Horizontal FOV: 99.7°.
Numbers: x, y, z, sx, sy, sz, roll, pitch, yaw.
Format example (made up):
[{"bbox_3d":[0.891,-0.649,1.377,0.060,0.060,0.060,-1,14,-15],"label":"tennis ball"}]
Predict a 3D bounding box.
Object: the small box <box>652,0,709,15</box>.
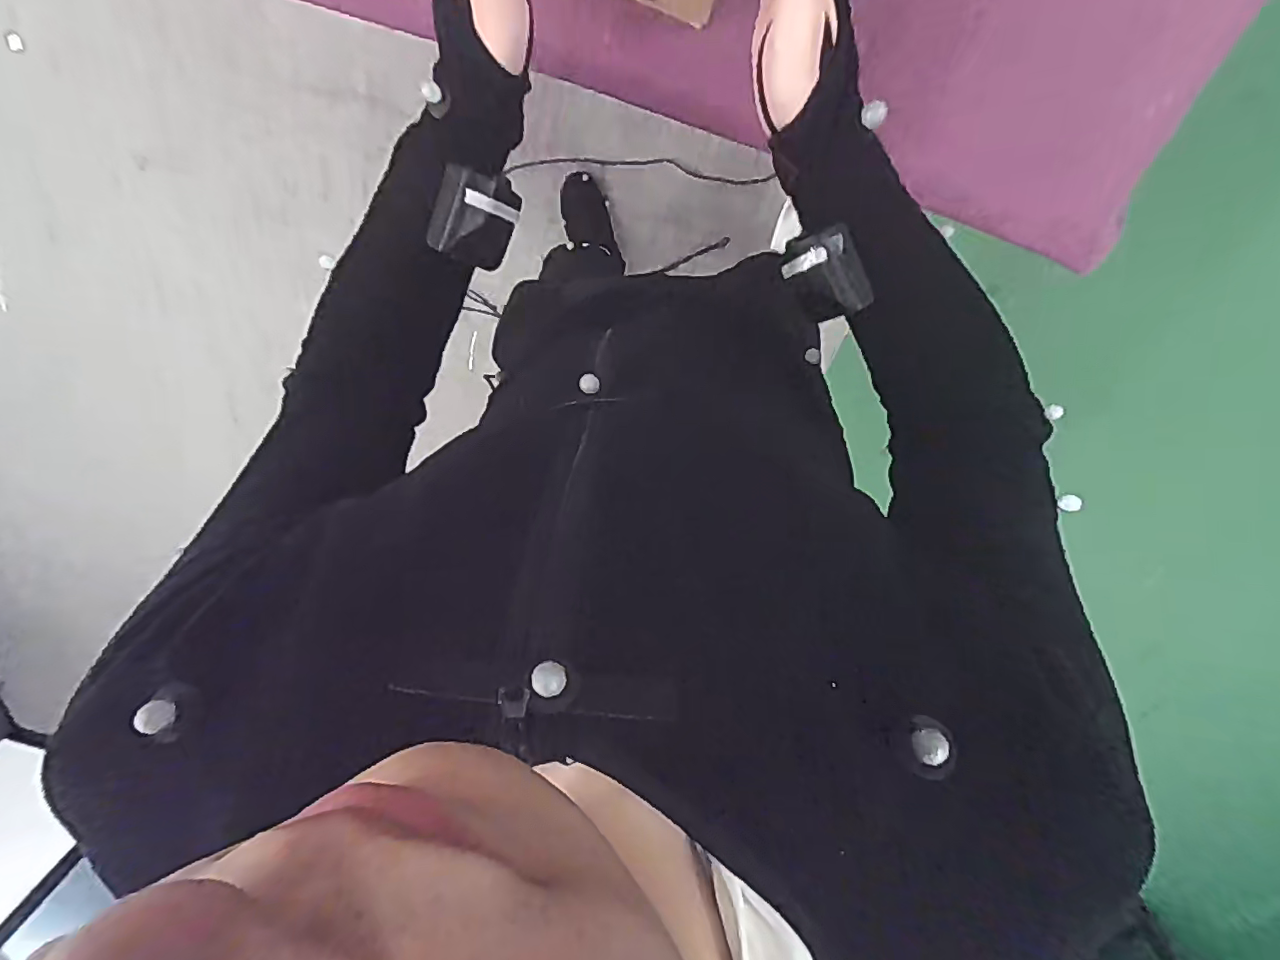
[{"bbox_3d":[0.014,-0.567,0.482,0.168,0.176,0.179,20,121,-4],"label":"small box"}]
